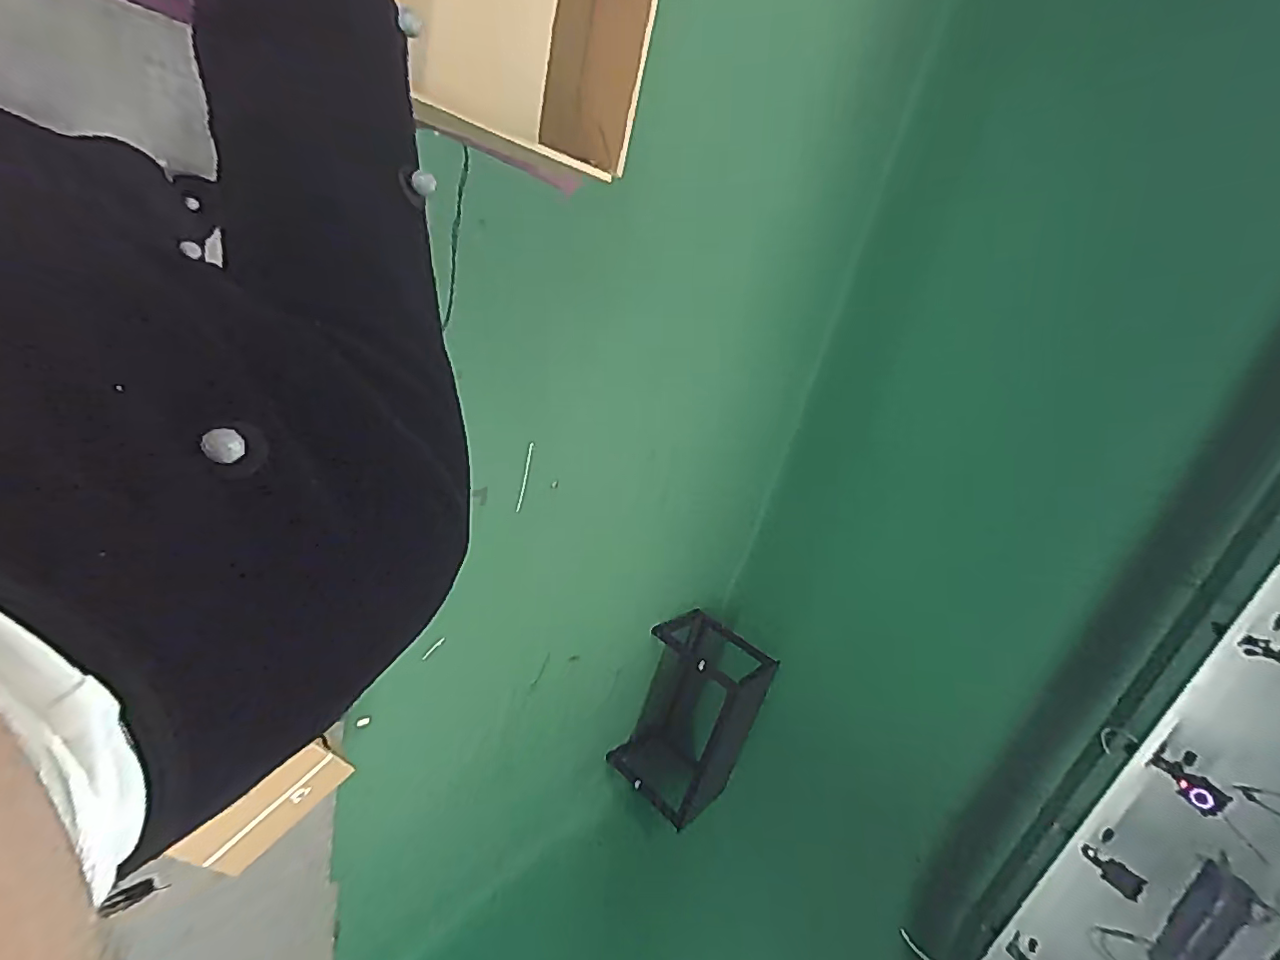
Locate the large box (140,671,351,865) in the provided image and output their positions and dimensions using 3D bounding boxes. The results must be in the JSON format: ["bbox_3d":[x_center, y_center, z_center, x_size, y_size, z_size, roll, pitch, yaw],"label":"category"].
[{"bbox_3d":[-1.246,0.911,1.733,0.408,0.320,0.320,-42,143,-27],"label":"large box"}]
